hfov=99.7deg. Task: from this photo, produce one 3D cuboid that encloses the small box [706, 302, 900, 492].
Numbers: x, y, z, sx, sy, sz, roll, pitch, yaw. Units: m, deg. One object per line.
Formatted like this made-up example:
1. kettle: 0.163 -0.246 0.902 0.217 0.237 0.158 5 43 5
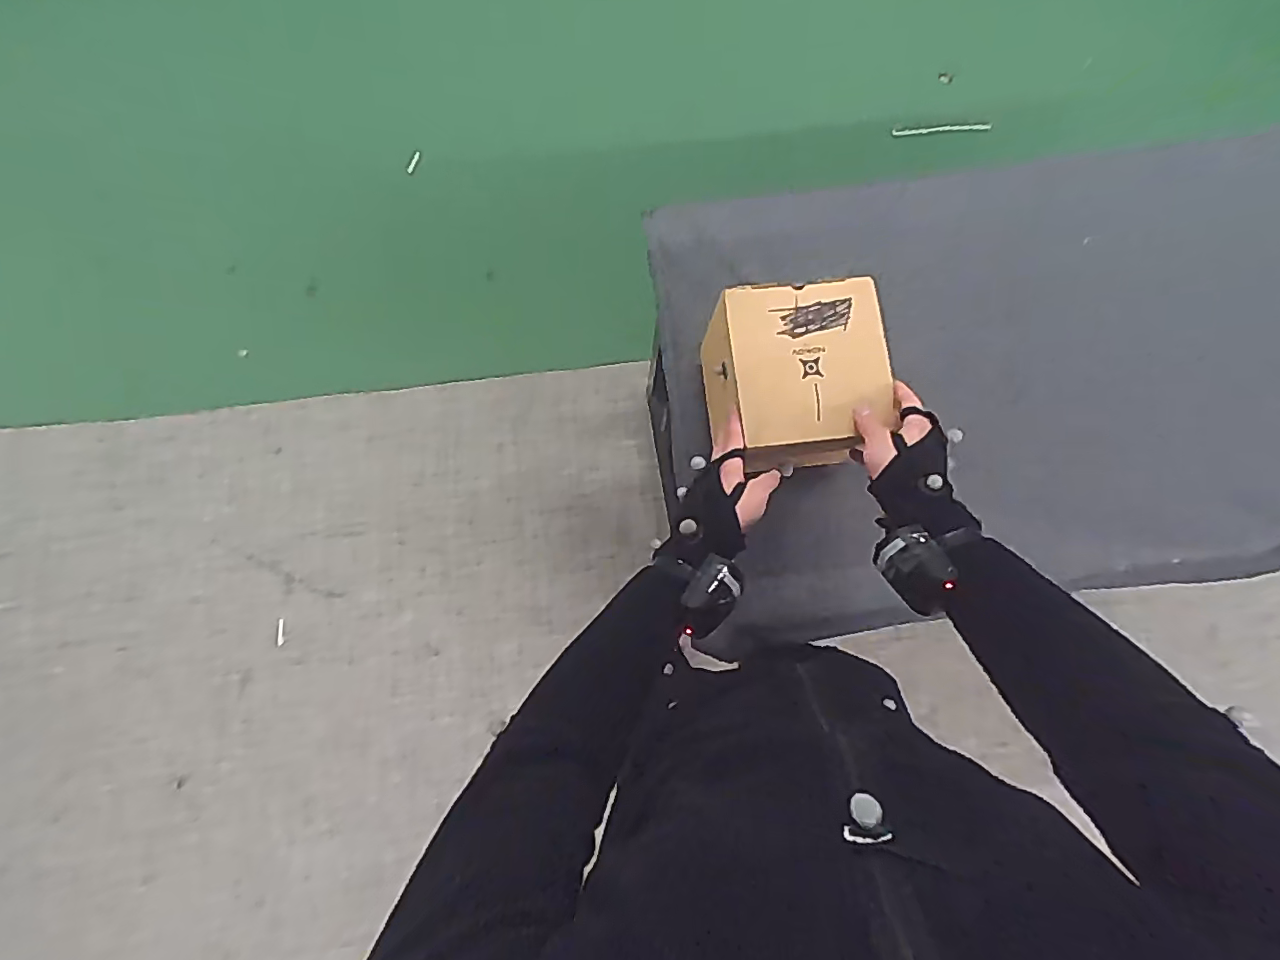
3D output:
1. small box: 0.180 -0.090 0.654 0.168 0.176 0.179 -6 81 -3
